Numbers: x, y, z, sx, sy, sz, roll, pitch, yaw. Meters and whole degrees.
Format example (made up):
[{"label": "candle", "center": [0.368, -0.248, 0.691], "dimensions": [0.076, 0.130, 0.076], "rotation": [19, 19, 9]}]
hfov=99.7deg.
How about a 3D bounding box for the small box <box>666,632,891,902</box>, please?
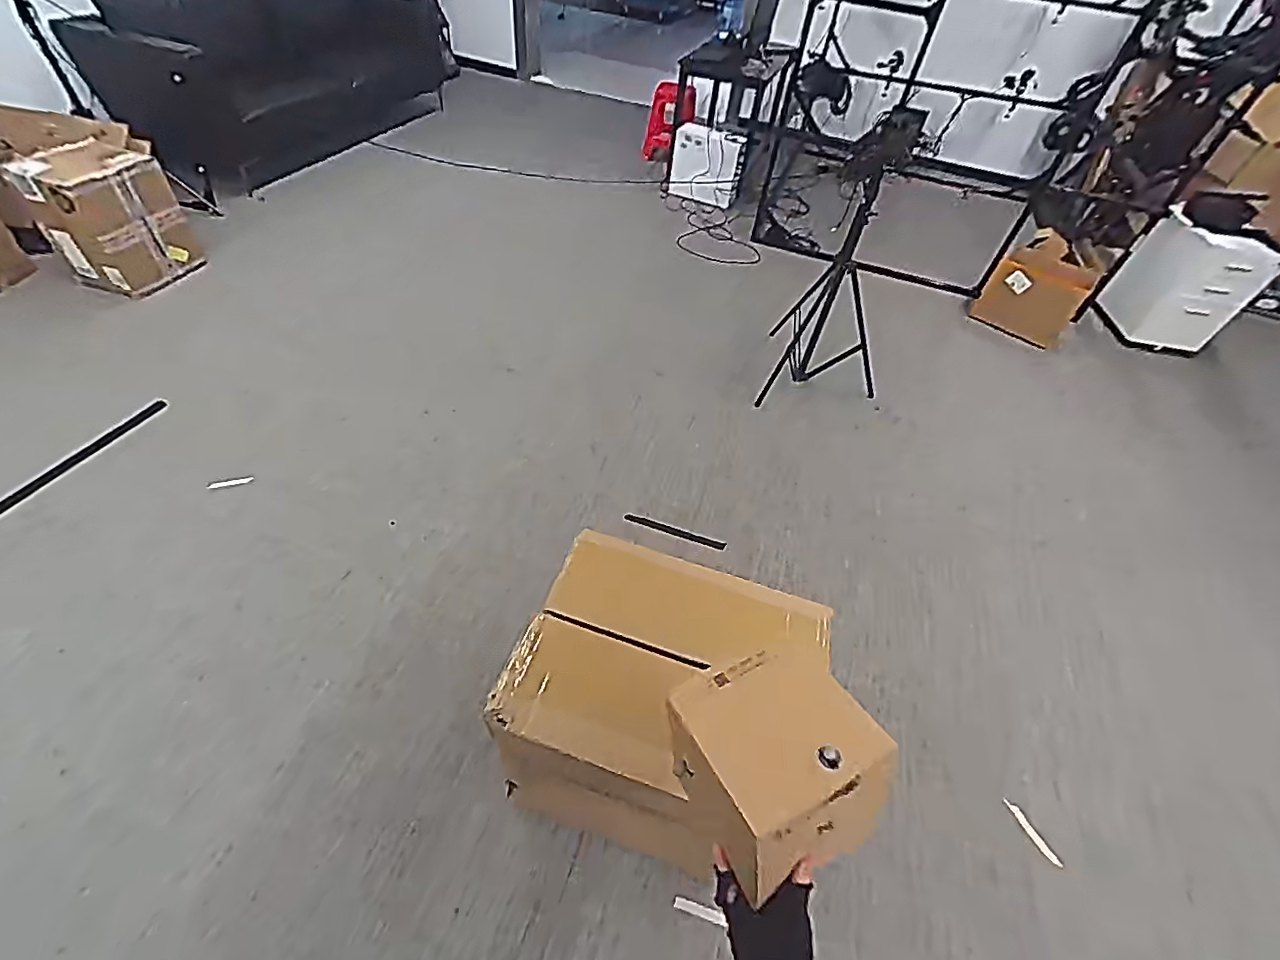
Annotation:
[{"label": "small box", "center": [0.143, 0.307, 0.603], "dimensions": [0.168, 0.179, 0.176], "rotation": [-21, 35, -19]}]
